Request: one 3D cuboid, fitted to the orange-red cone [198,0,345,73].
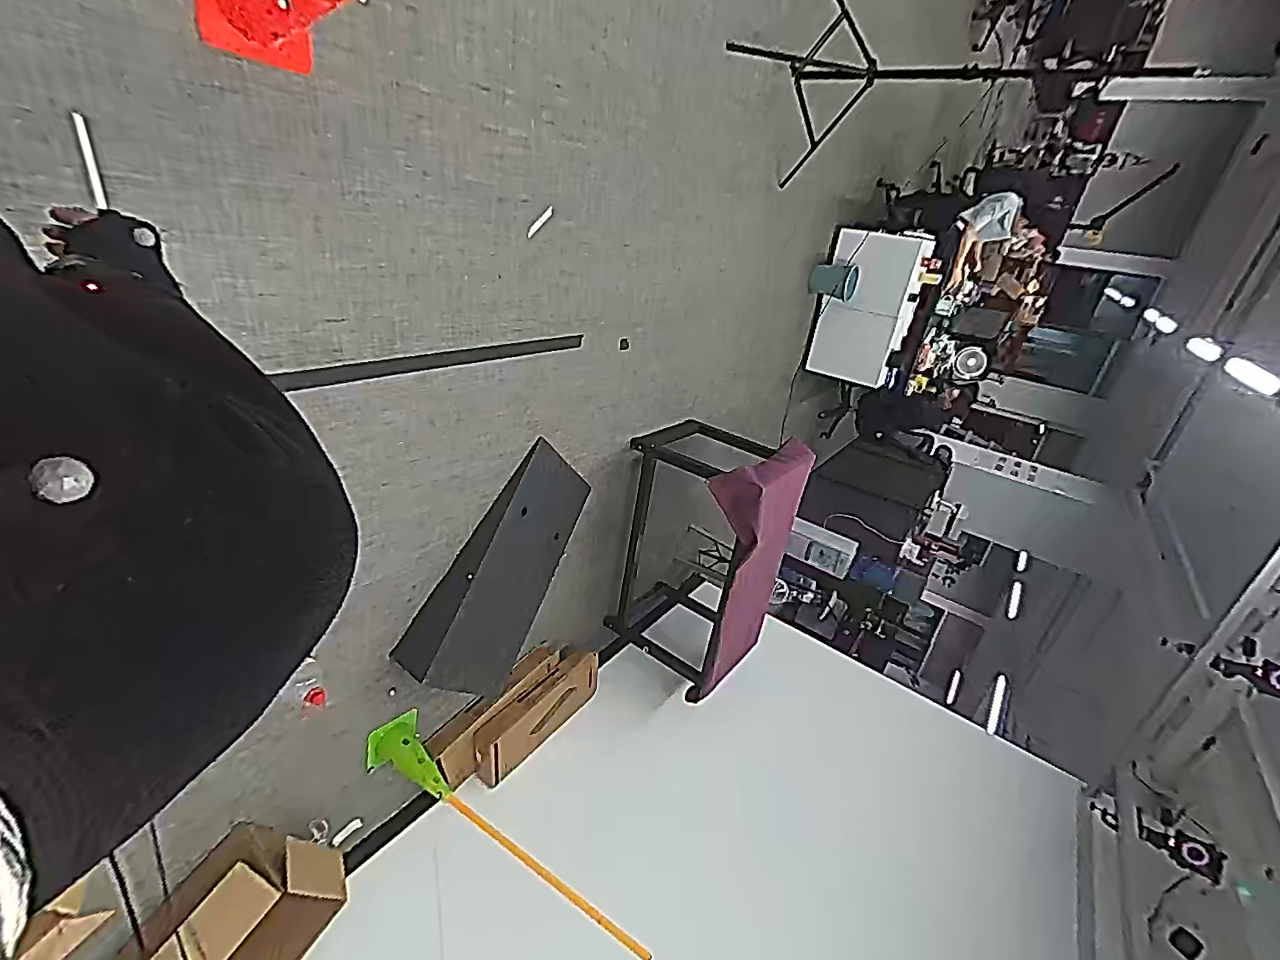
[{"bbox_3d":[-0.603,-0.866,0.954,0.198,0.360,0.199,-21,128,-50],"label":"orange-red cone"}]
